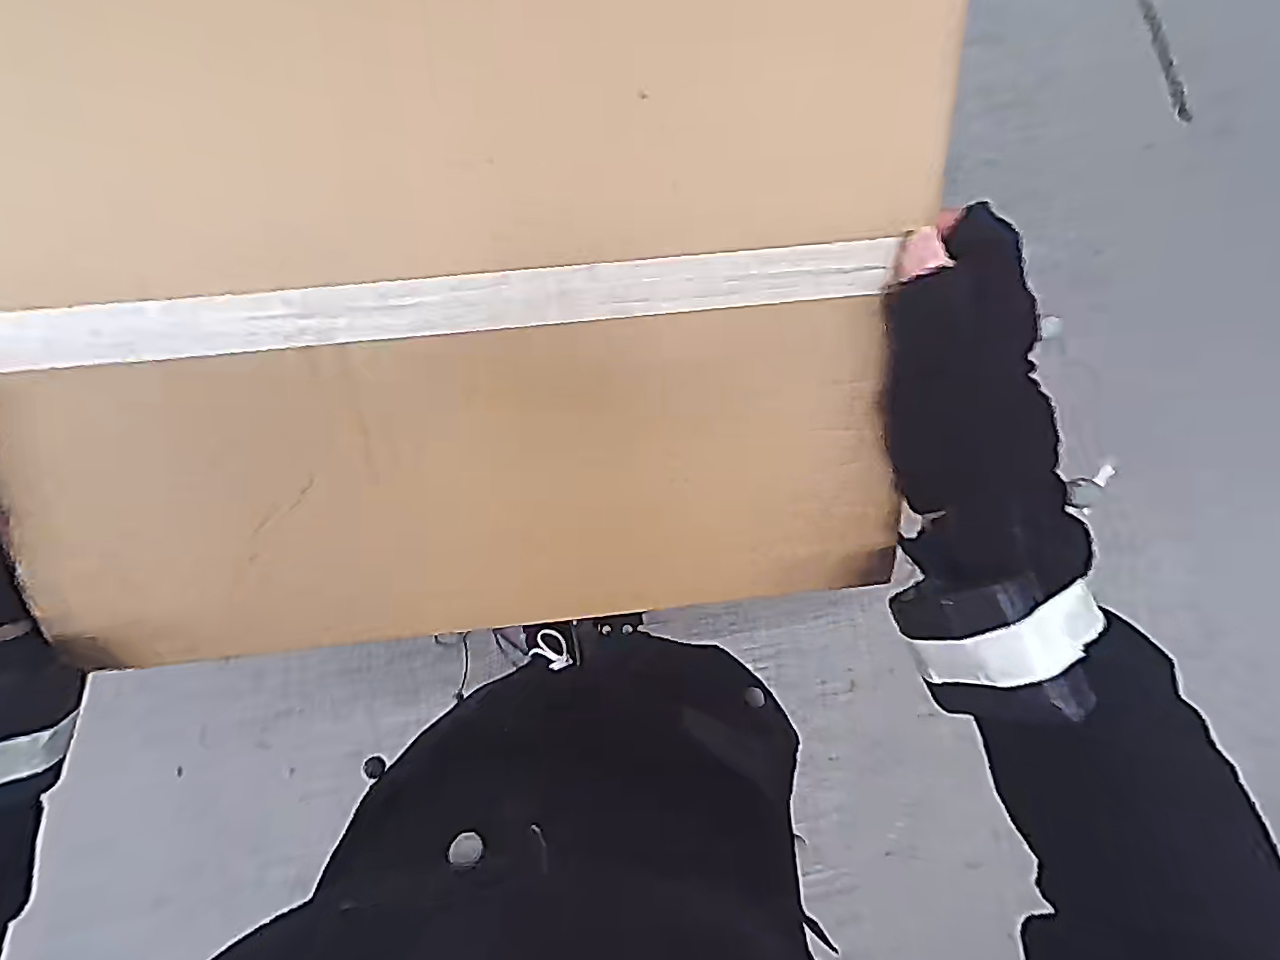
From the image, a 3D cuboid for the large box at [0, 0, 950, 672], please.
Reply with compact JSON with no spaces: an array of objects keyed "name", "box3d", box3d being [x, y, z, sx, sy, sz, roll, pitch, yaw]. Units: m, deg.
[{"name":"large box","box3d":[-0.090,-0.120,0.361,0.408,0.320,0.320,-5,113,-3]}]
